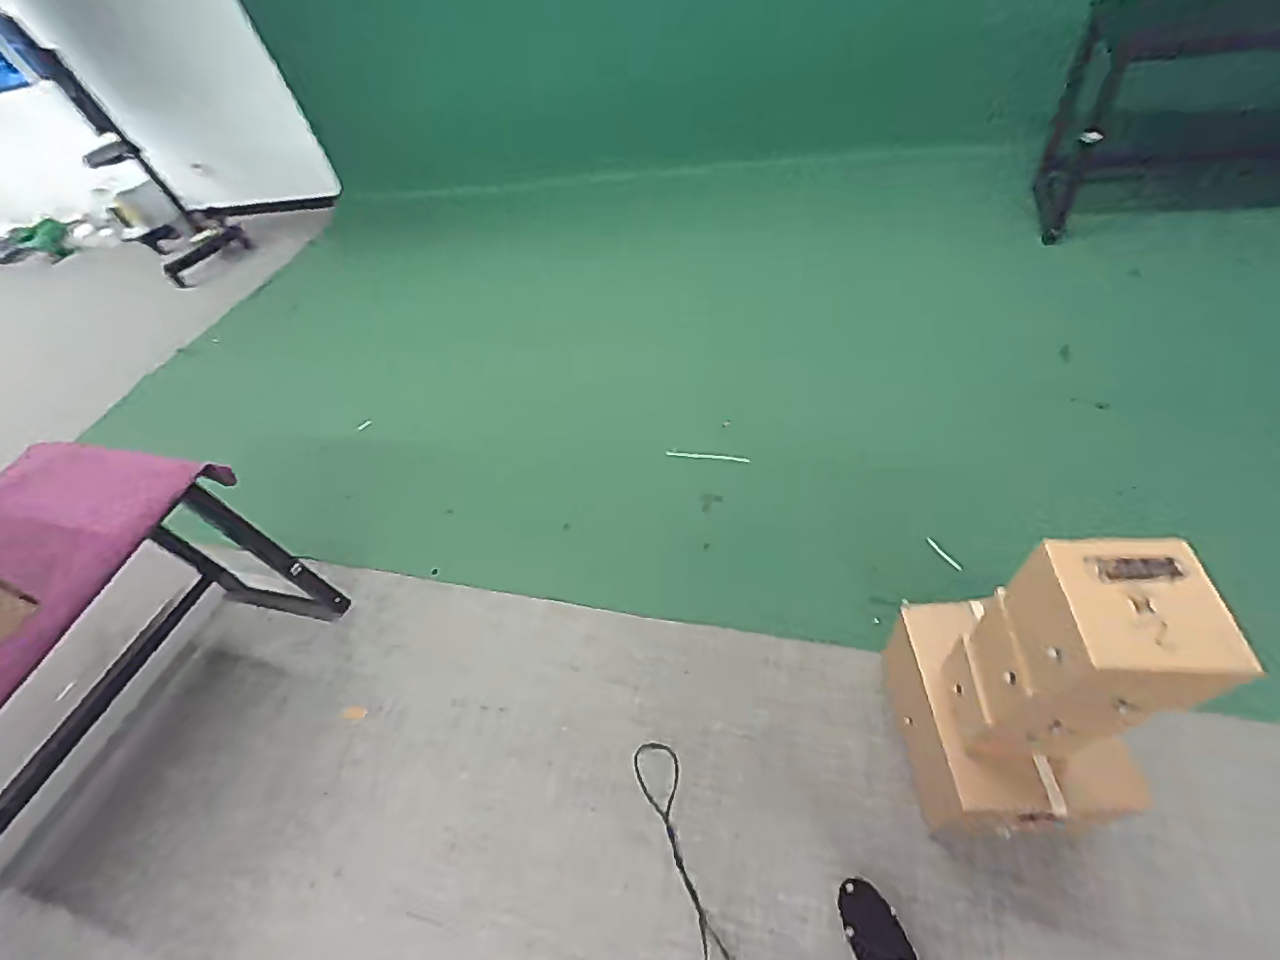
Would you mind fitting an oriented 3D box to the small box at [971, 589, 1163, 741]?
[{"bbox_3d":[0.653,0.293,0.858,0.168,0.176,0.179,-1,51,13],"label":"small box"}]

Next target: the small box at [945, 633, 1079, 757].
[{"bbox_3d":[0.676,0.392,0.984,0.179,0.176,0.168,-2,51,12],"label":"small box"}]

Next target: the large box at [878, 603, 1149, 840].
[{"bbox_3d":[0.751,0.525,1.181,0.320,0.320,0.408,-5,48,8],"label":"large box"}]
